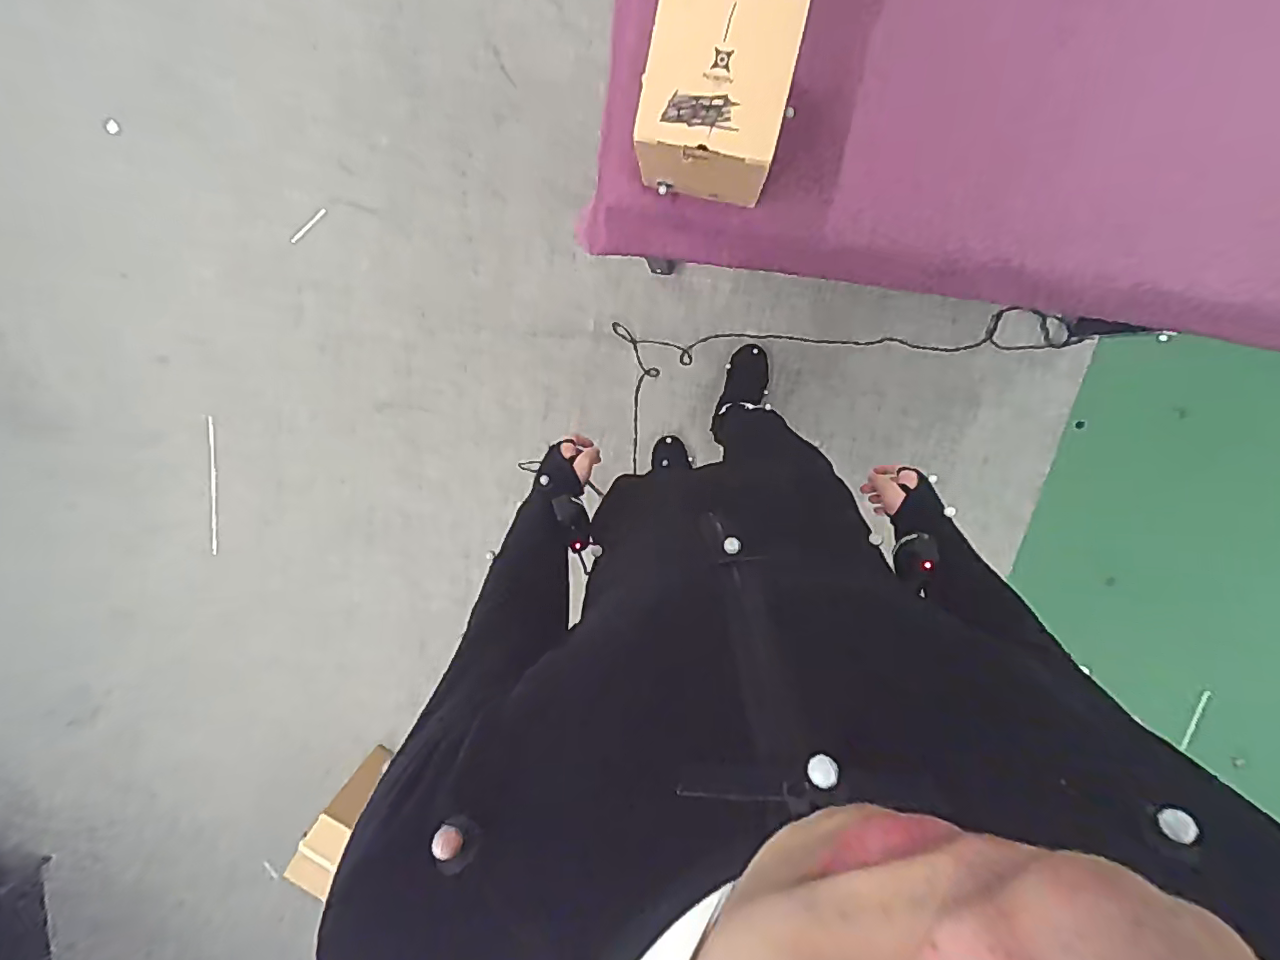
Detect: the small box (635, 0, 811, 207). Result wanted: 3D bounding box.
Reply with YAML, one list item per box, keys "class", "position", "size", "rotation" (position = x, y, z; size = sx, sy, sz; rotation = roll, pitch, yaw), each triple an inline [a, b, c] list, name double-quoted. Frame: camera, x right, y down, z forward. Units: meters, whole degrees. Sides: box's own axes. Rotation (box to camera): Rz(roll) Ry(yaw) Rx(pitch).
- class: "small box"
  position: [0.098, -0.470, 0.686]
  size: [0.168, 0.176, 0.179]
  rotation: [13, 102, 2]

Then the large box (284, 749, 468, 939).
- class: "large box"
  position: [-0.878, 1.219, 1.840]
  size: [0.408, 0.320, 0.320]
  rotation: [34, 104, -3]
